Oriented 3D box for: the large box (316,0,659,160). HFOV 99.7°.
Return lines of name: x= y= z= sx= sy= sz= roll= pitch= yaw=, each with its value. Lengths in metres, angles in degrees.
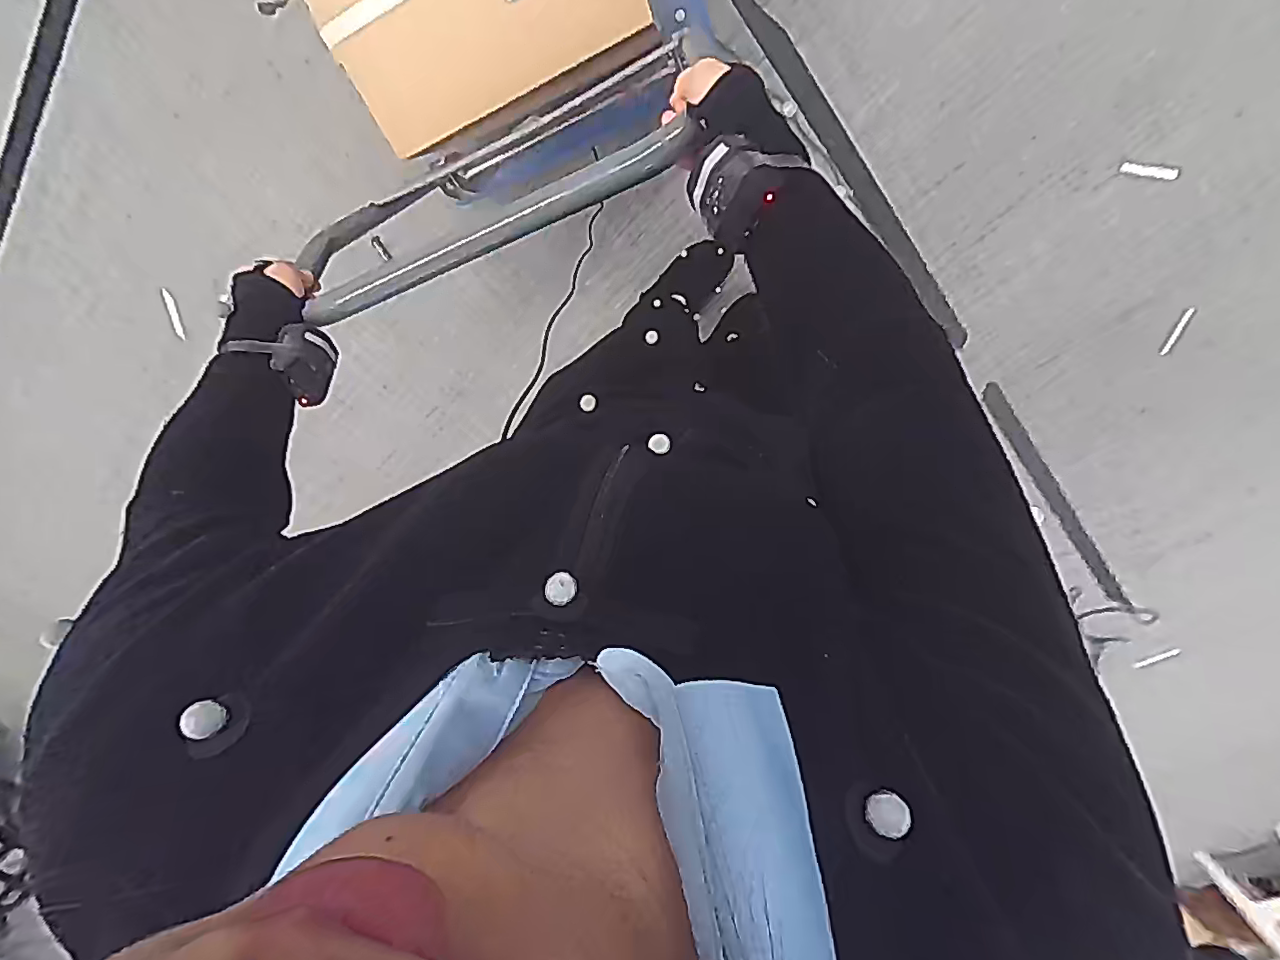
large box: x=-0.213 y=-0.729 z=0.787 sx=0.408 sy=0.320 sz=0.320 roll=-18 pitch=123 yaw=16
